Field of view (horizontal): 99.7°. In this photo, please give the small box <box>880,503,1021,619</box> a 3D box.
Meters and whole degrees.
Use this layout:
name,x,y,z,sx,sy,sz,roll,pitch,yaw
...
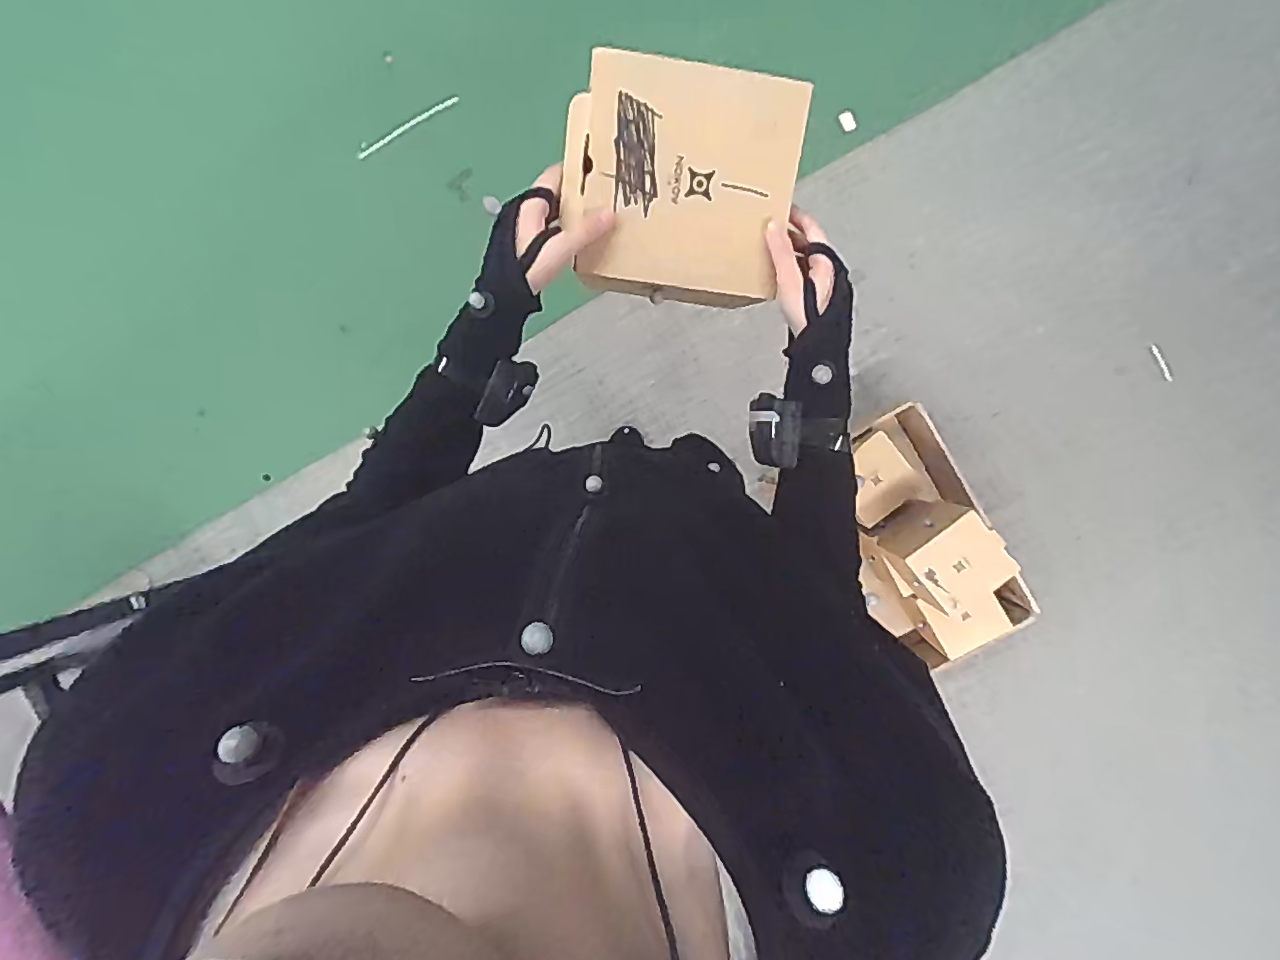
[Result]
name,x,y,z,sx,sy,sz,roll,pitch,yaw
small box,0.671,0.168,1.192,0.179,0.176,0.168,-39,91,5

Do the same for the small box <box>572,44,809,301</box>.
name,x,y,z,sx,sy,sz,roll,pitch,yaw
small box,0.034,-0.269,0.518,0.179,0.176,0.168,6,105,-5
